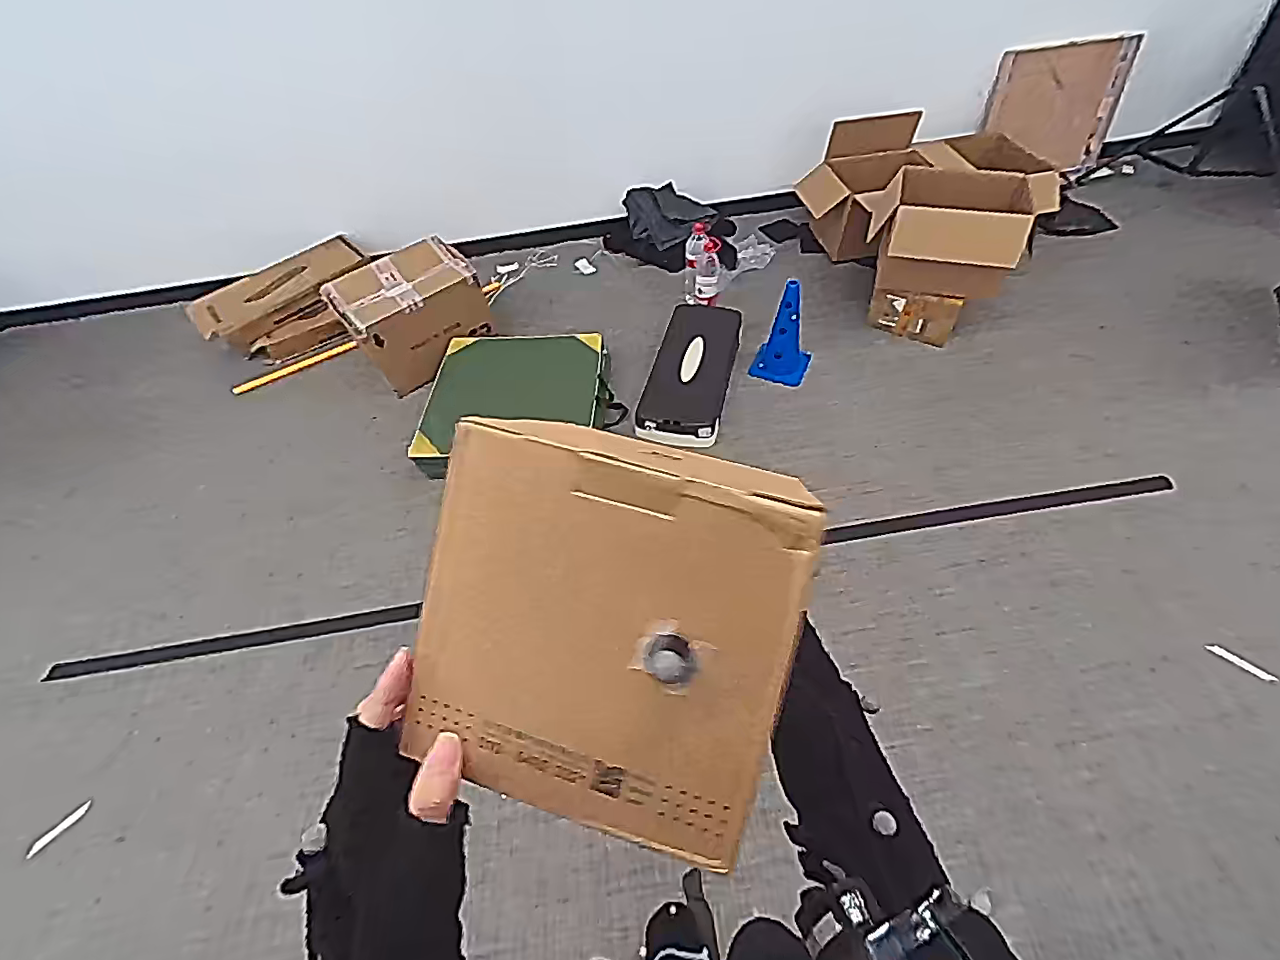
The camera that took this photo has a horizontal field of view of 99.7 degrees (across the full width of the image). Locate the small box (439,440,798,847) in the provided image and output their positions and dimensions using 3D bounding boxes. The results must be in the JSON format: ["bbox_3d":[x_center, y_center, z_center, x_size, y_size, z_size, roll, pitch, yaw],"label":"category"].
[{"bbox_3d":[-0.003,0.074,0.335,0.168,0.179,0.176,14,97,14],"label":"small box"}]
